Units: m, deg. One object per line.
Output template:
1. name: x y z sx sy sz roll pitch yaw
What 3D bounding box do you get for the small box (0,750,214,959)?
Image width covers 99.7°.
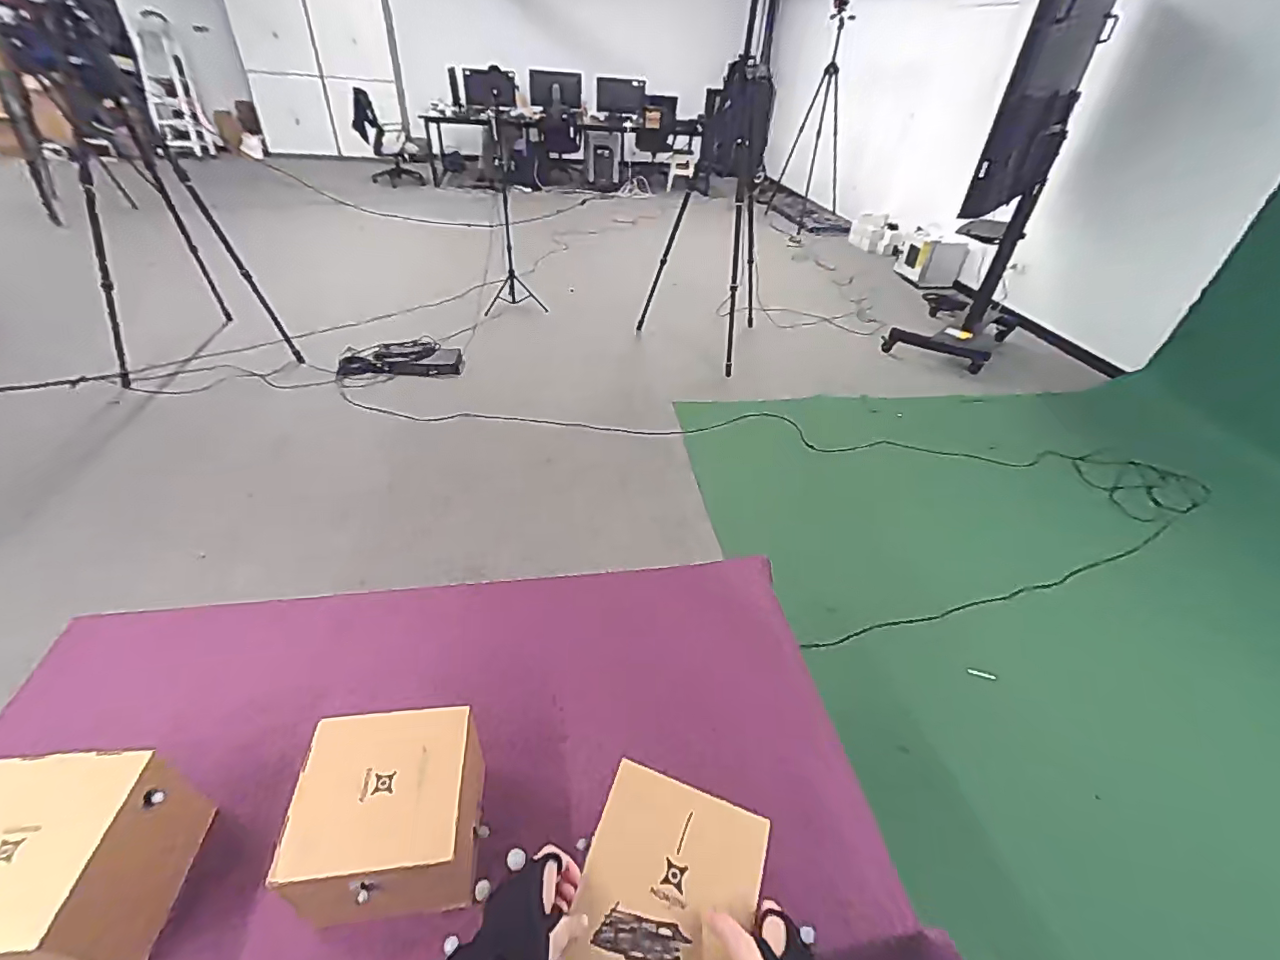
1. small box: -0.614 0.422 0.583 0.168 0.176 0.179 -1 38 -6

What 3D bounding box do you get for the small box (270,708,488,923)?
1. small box: -0.286 0.396 0.642 0.179 0.176 0.168 -2 39 -8

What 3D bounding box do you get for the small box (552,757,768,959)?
1. small box: 0.020 0.435 0.573 0.168 0.176 0.179 19 48 9
